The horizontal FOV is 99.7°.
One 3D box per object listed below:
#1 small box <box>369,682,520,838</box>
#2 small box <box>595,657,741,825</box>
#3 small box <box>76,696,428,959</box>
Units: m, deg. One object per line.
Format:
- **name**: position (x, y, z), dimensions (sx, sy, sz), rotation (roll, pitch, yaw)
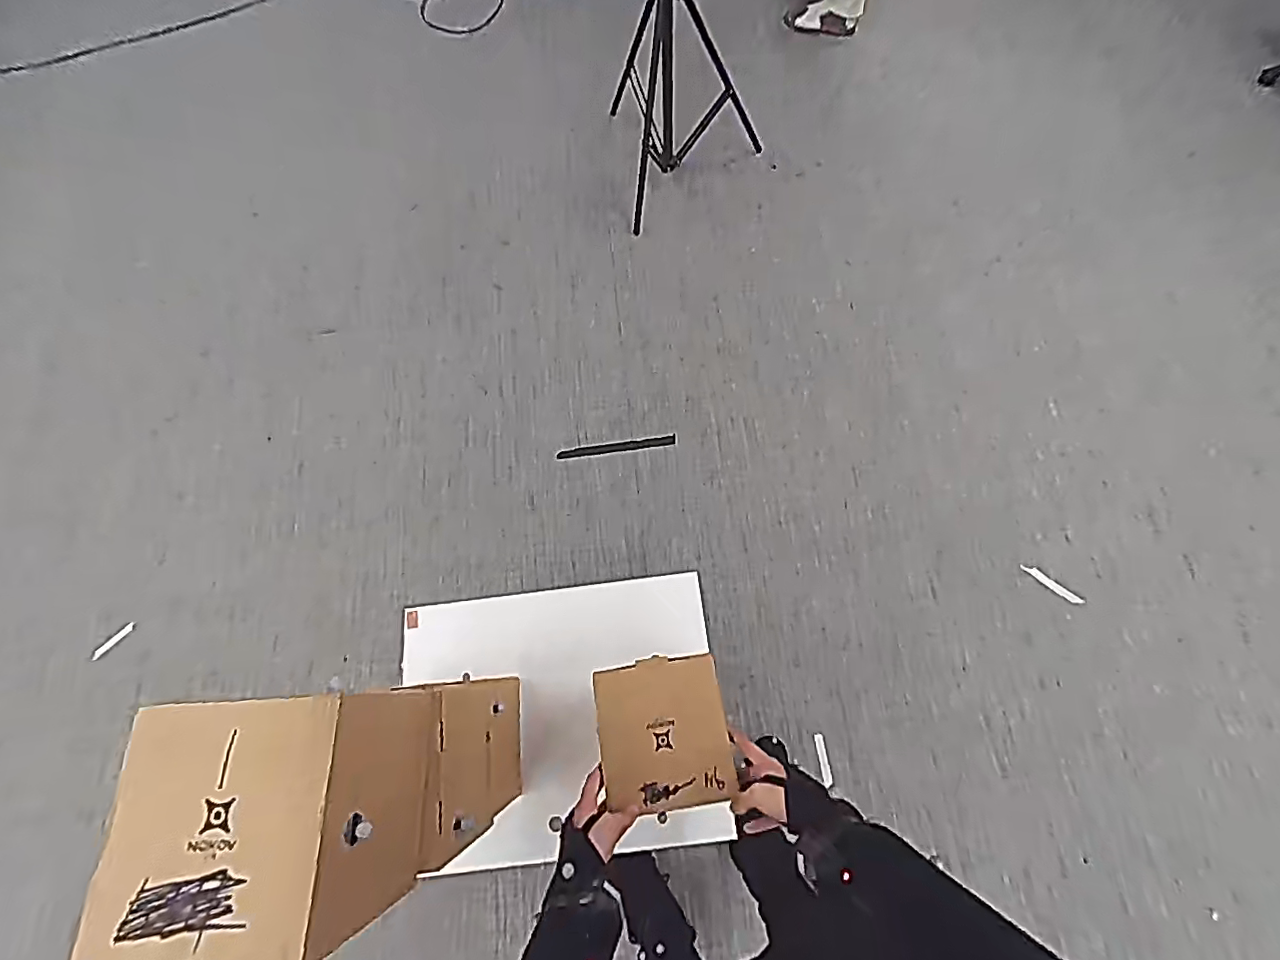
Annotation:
- **small box**: position (-0.273, 0.390, 0.773), dimensions (0.168, 0.176, 0.179), rotation (-6, 70, 1)
- **small box**: position (0.037, 0.359, 0.758), dimensions (0.168, 0.176, 0.179), rotation (-10, 66, 2)
- **small box**: position (-0.299, 0.284, 0.463), dimensions (0.168, 0.176, 0.179), rotation (-4, 69, 2)
